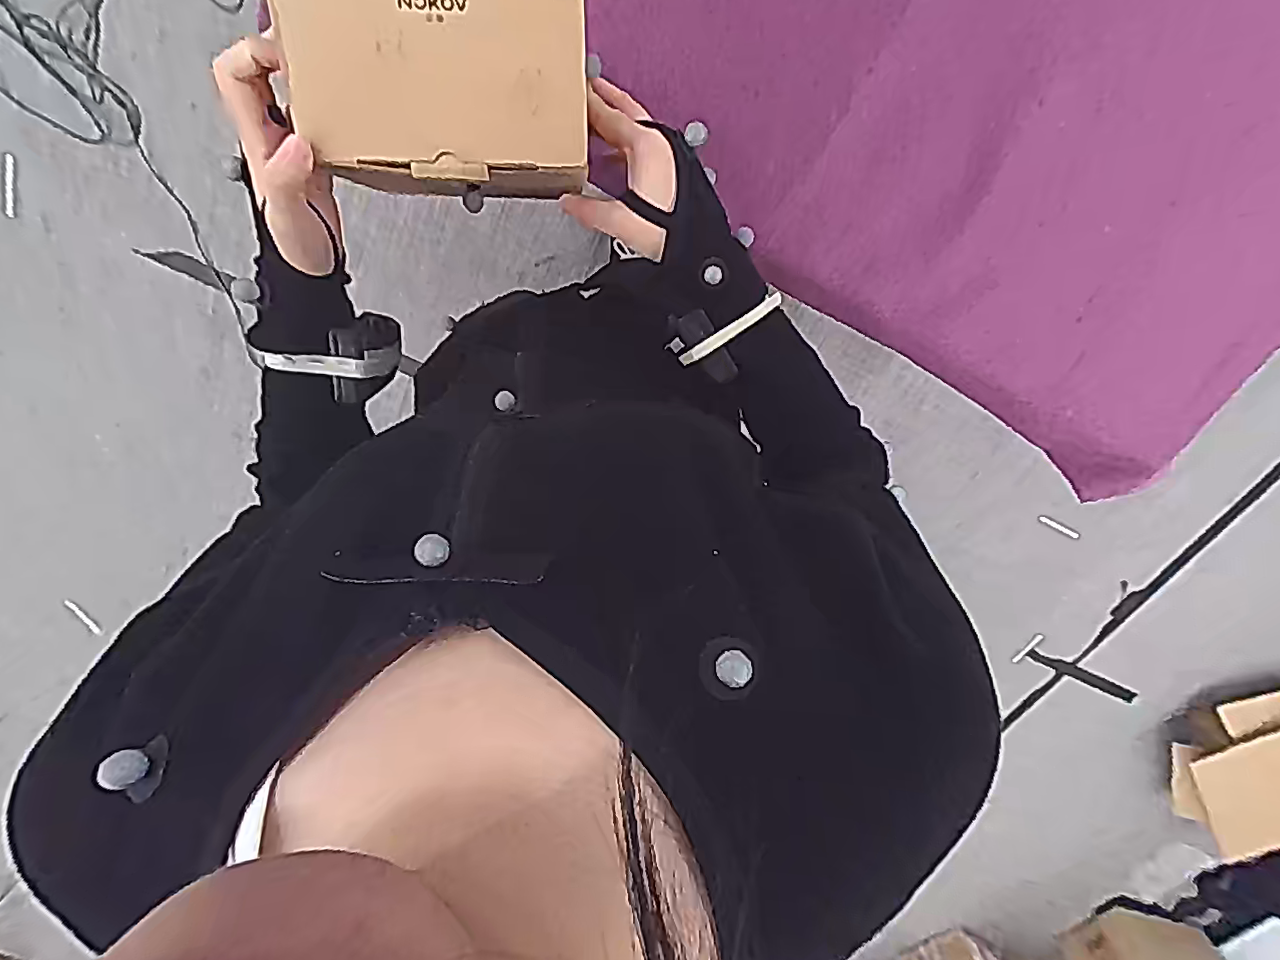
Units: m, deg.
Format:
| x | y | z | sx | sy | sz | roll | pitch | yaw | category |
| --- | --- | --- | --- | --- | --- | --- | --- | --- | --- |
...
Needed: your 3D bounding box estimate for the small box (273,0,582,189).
| x | y | z | sx | sy | sz | roll | pitch | yaw | category |
| --- | --- | --- | --- | --- | --- | --- | --- | --- | --- |
| -0.122 | -0.300 | 0.363 | 0.168 | 0.176 | 0.179 | -2 | 114 | -7 | small box |
